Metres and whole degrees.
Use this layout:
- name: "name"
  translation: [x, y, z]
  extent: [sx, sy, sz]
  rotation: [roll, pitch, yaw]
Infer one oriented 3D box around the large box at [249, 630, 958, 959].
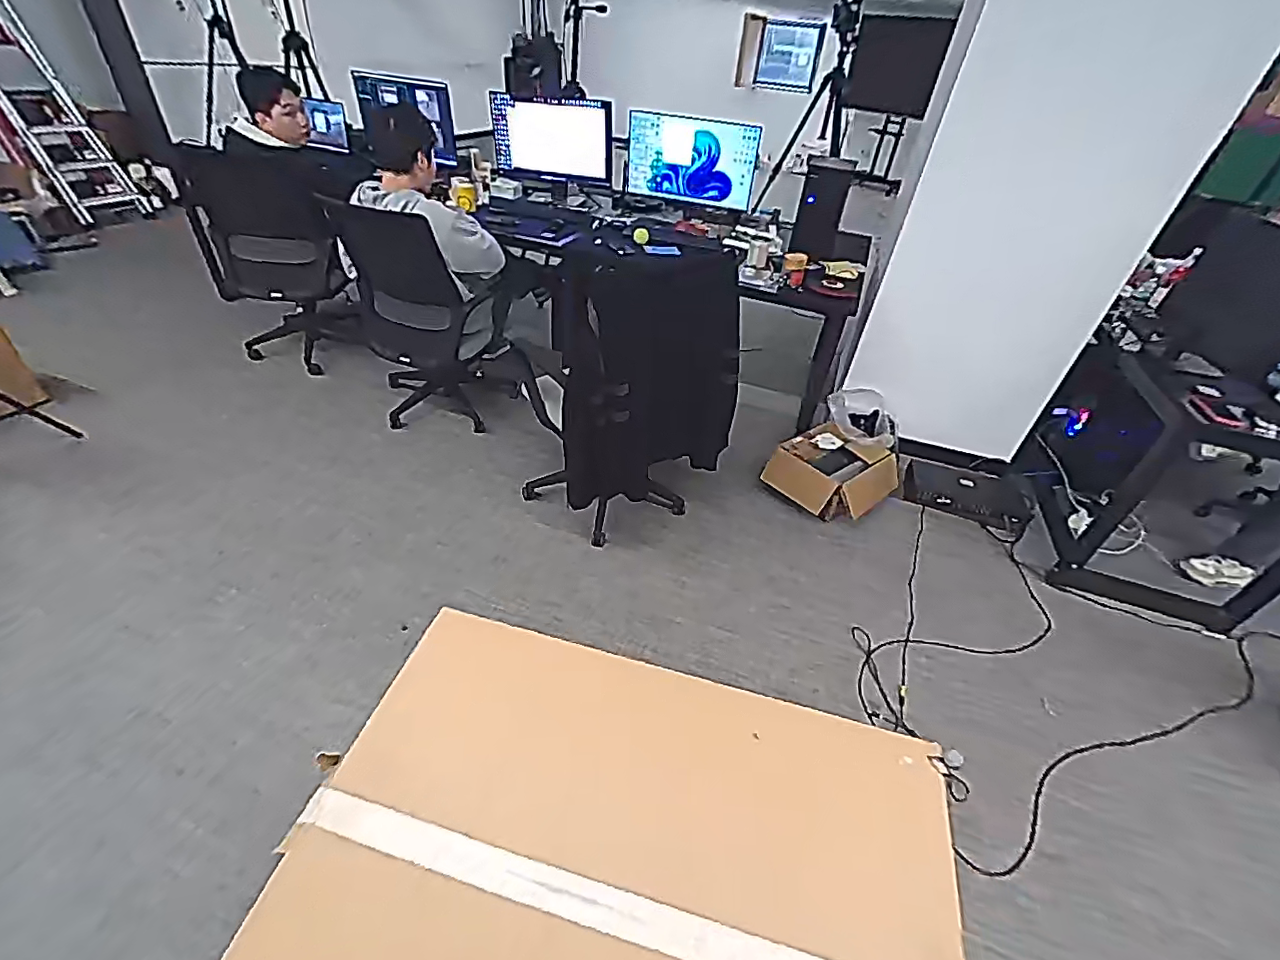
- name: "large box"
  translation: [-0.021, 0.372, 0.429]
  extent: [0.408, 0.320, 0.320]
  rotation: [12, 46, 8]
